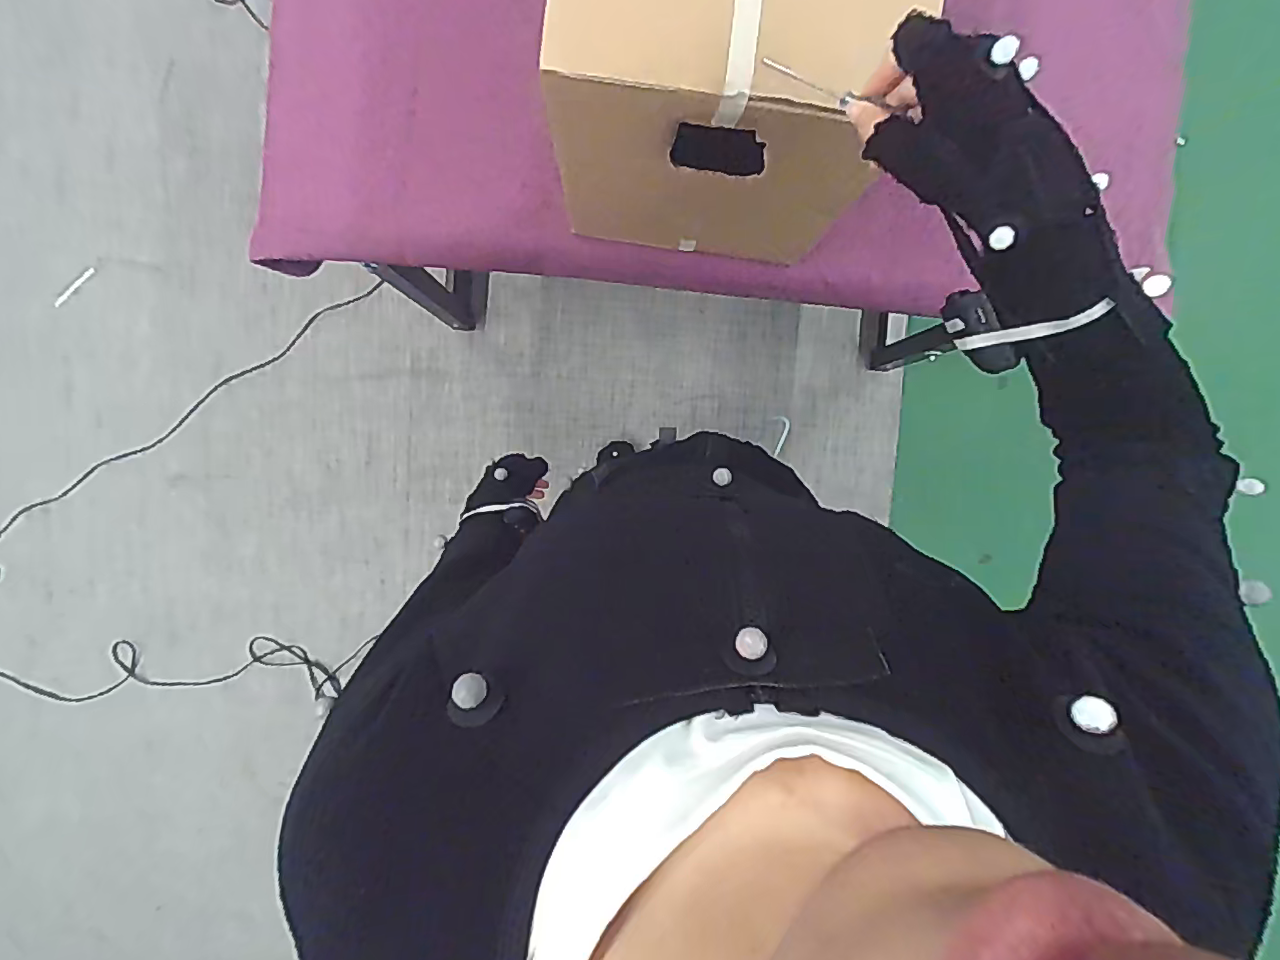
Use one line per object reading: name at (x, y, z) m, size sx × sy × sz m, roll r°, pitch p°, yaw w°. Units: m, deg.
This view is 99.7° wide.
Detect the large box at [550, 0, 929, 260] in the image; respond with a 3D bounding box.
large box at (0.092, -0.511, 0.587) m, size 0.320 × 0.320 × 0.408 m, roll 7°, pitch 93°, yaw -2°
